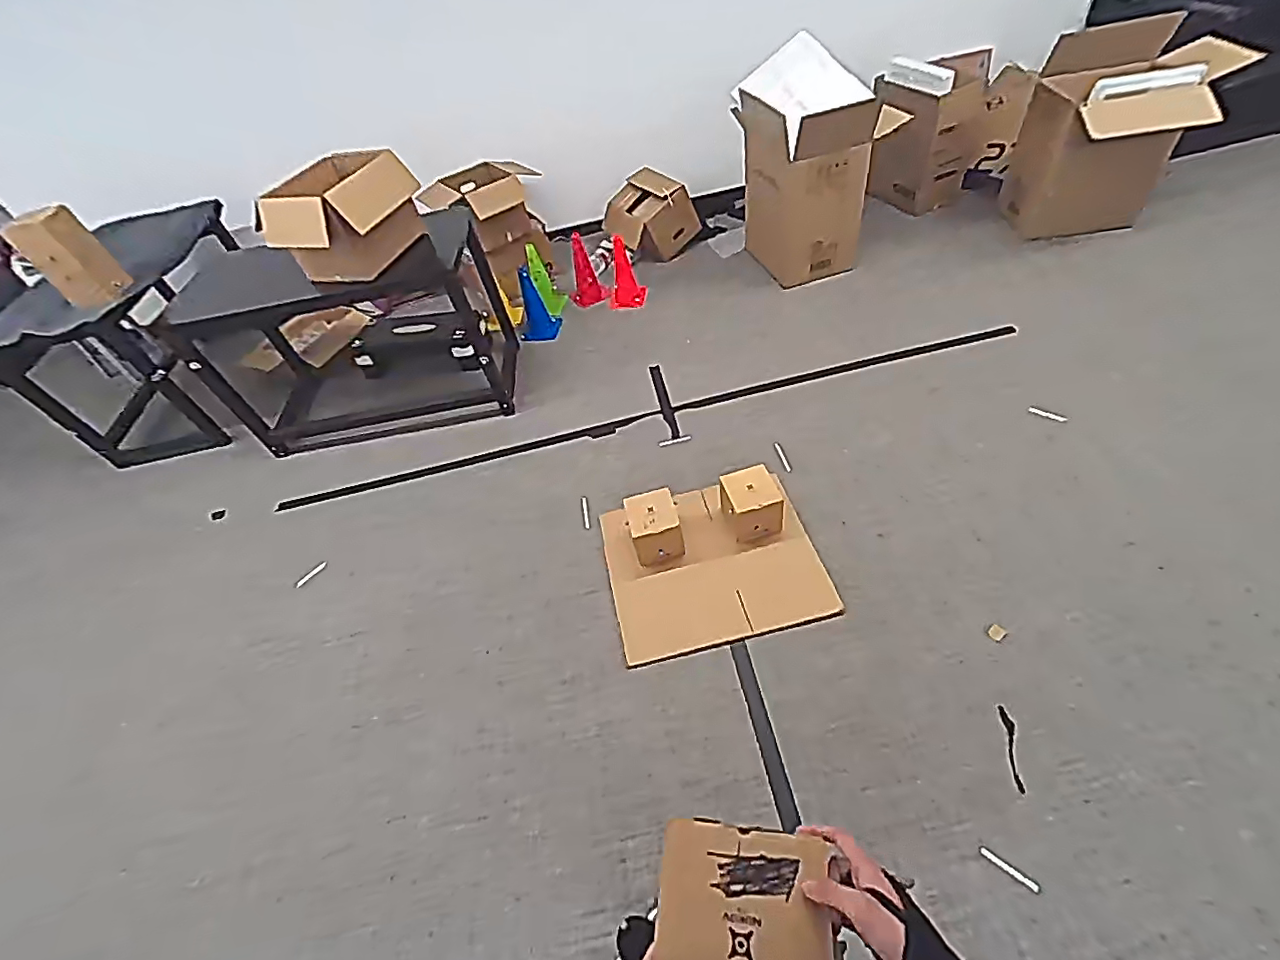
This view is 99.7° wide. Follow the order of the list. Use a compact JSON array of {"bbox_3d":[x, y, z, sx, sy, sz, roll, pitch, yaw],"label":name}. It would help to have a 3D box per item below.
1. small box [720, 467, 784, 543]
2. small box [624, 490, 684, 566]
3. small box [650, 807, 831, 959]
[{"bbox_3d":[0.385,0.088,1.886,0.168,0.176,0.179,-17,49,-4],"label":"small box"},{"bbox_3d":[0.050,0.168,1.876,0.168,0.176,0.179,-15,49,-1],"label":"small box"},{"bbox_3d":[0.100,0.471,0.572,0.168,0.176,0.179,3,50,8],"label":"small box"}]
